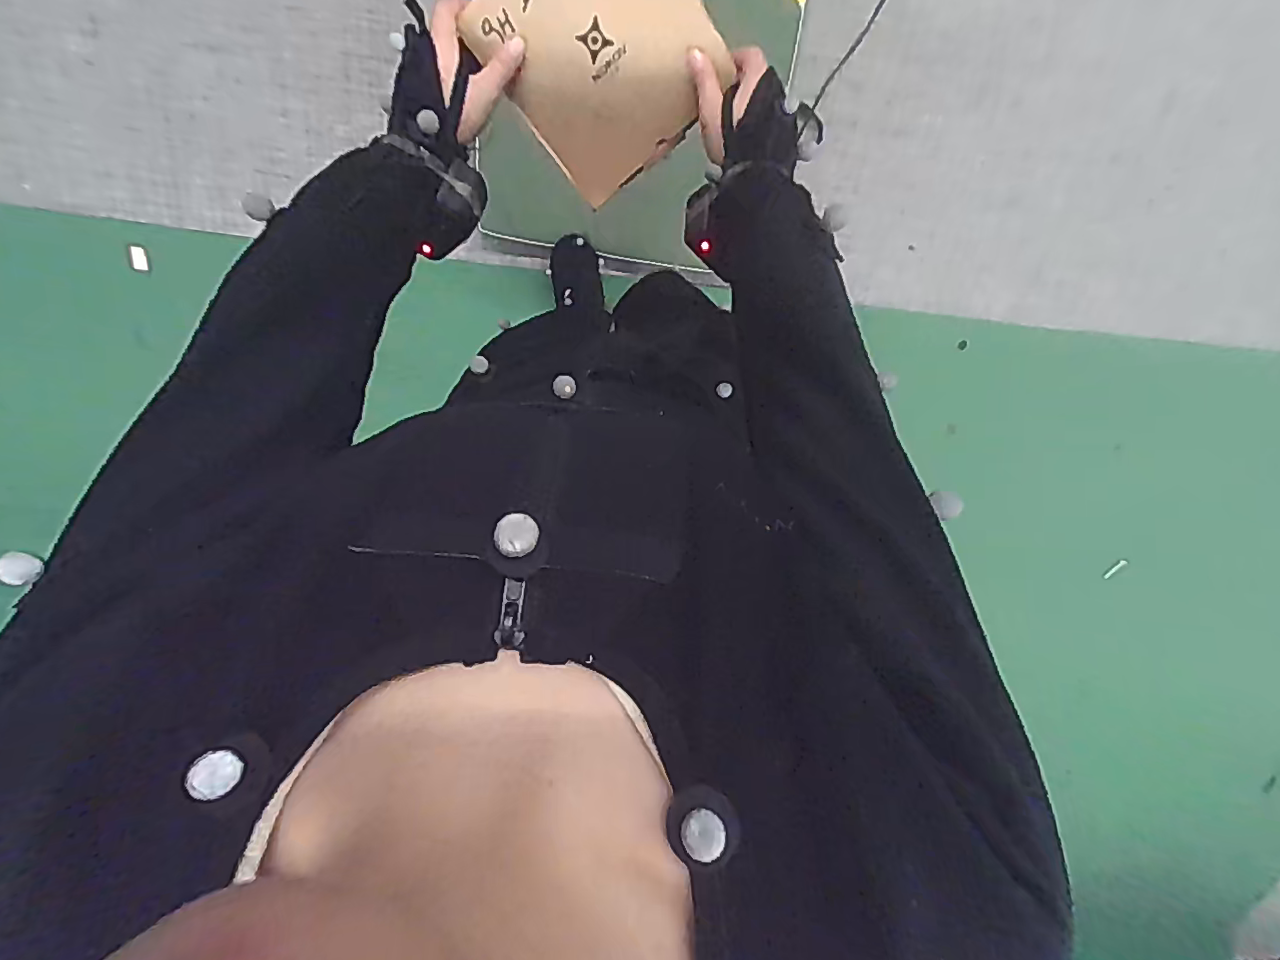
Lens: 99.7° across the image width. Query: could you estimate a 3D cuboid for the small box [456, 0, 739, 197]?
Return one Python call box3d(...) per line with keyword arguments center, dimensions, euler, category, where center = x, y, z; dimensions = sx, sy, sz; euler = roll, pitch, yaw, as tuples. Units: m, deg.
box3d(center=(-0.031, -0.406, 0.500), dimensions=(0.168, 0.176, 0.179), euler=(-31, 122, 20), category="small box")
